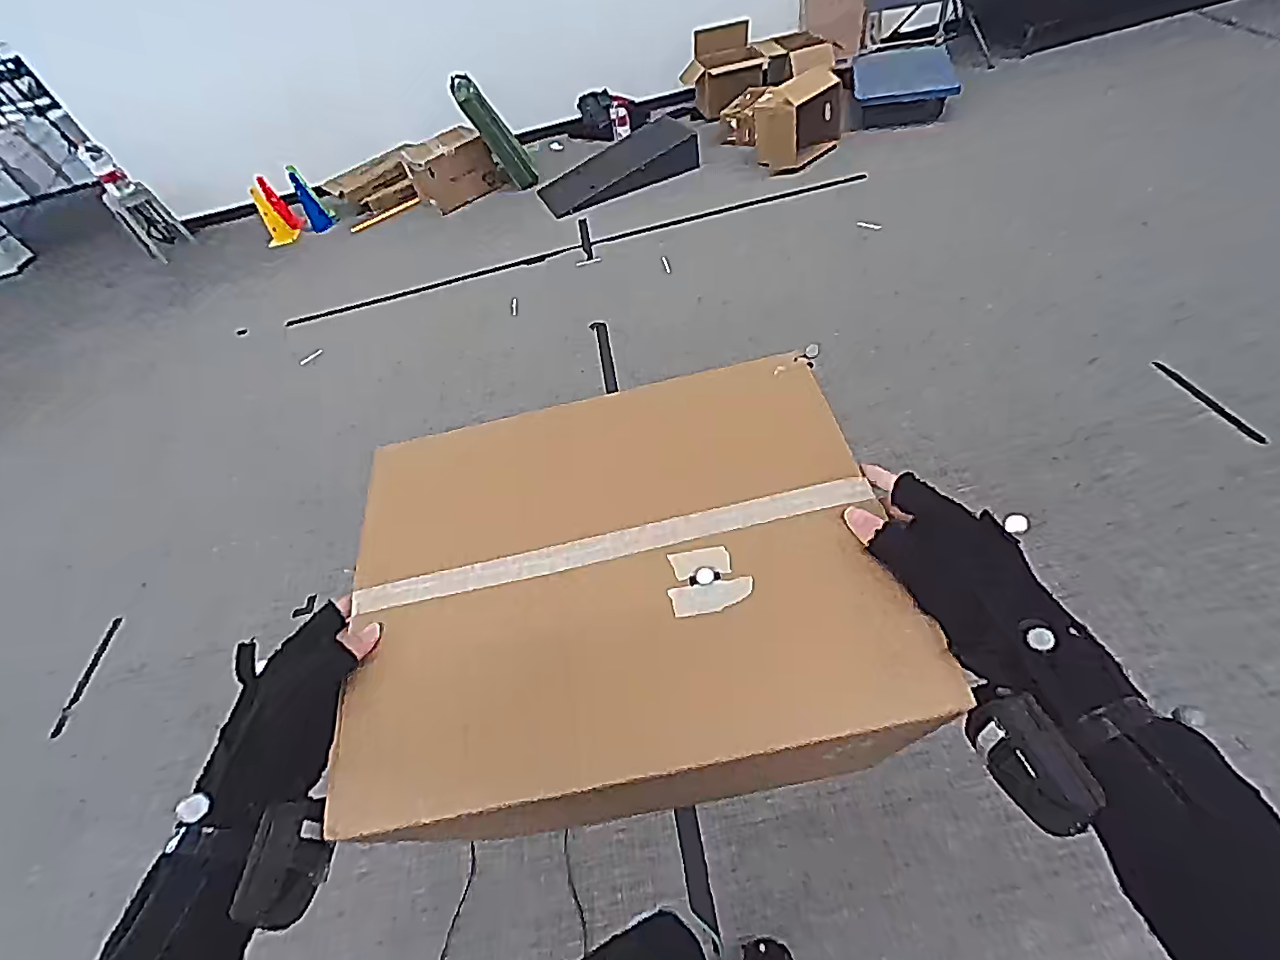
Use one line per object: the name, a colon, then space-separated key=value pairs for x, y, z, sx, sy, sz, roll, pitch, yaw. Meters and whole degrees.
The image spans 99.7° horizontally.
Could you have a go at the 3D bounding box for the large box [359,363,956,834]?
large box: x=0.004 y=0.137 z=0.550 sx=0.408 sy=0.320 sz=0.320 roll=-13 pitch=56 yaw=1
